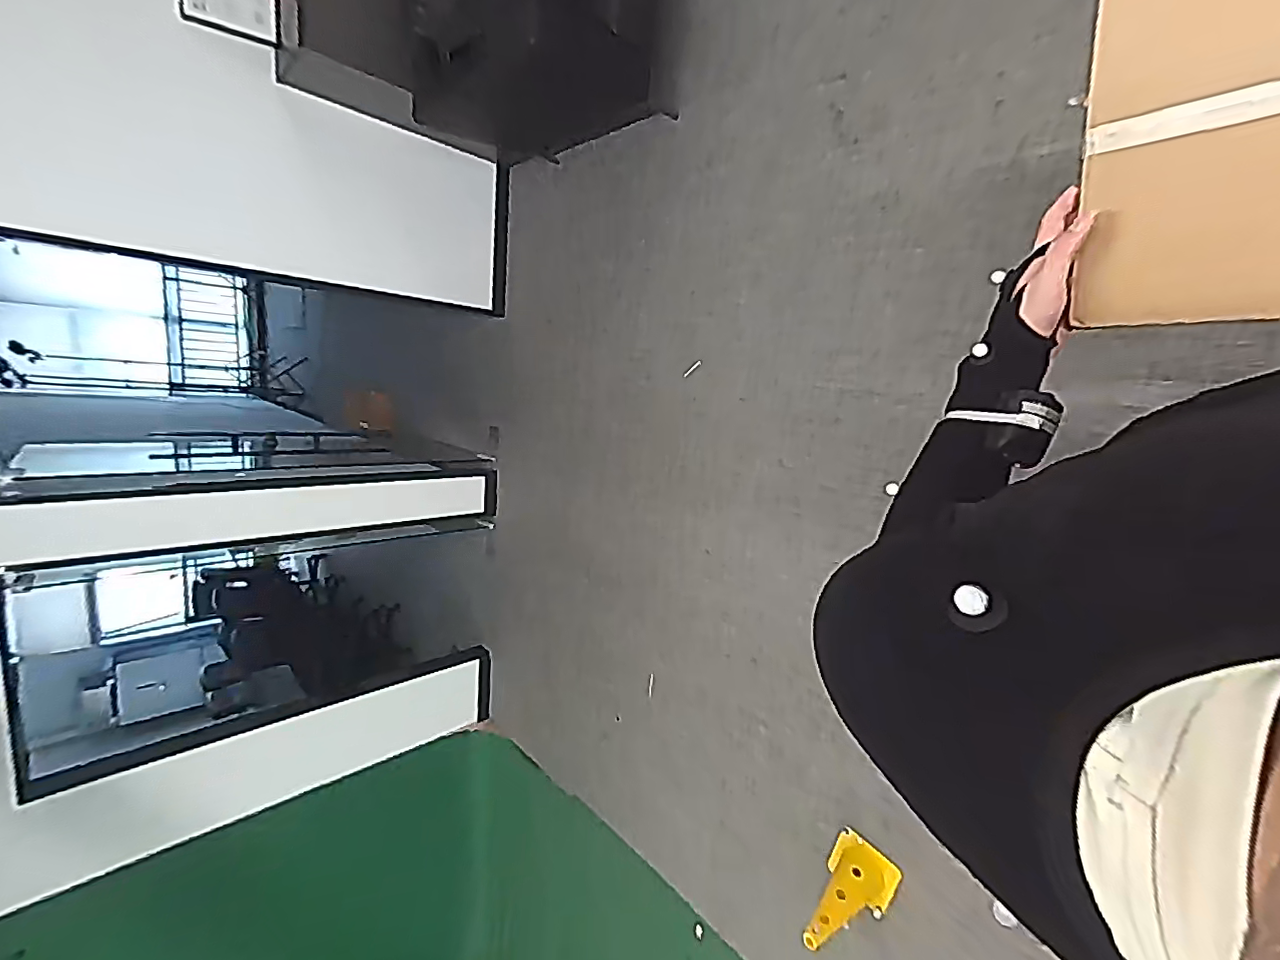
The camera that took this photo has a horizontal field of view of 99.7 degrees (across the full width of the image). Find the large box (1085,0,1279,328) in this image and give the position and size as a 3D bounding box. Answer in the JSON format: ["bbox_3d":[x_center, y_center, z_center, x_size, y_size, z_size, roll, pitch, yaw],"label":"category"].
[{"bbox_3d":[0.633,-0.315,0.414,0.408,0.320,0.320,11,119,47],"label":"large box"}]
